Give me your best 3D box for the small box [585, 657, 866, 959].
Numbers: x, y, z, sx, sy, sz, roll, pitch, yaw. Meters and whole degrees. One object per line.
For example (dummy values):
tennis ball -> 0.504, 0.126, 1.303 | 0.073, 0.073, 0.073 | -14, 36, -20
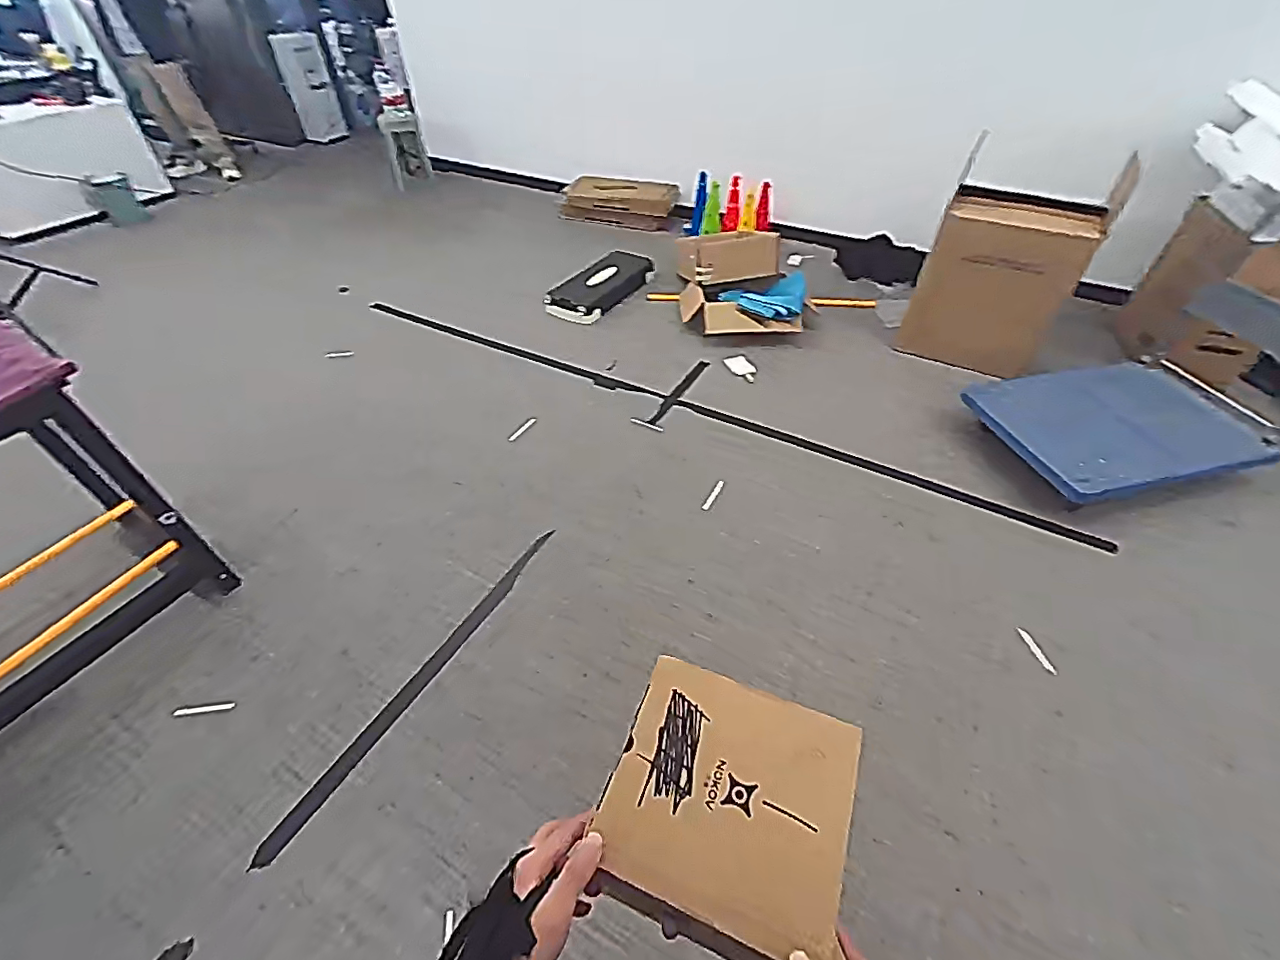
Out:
small box -> 0.074, 0.287, 0.463 | 0.179, 0.176, 0.168 | 15, 49, 17
